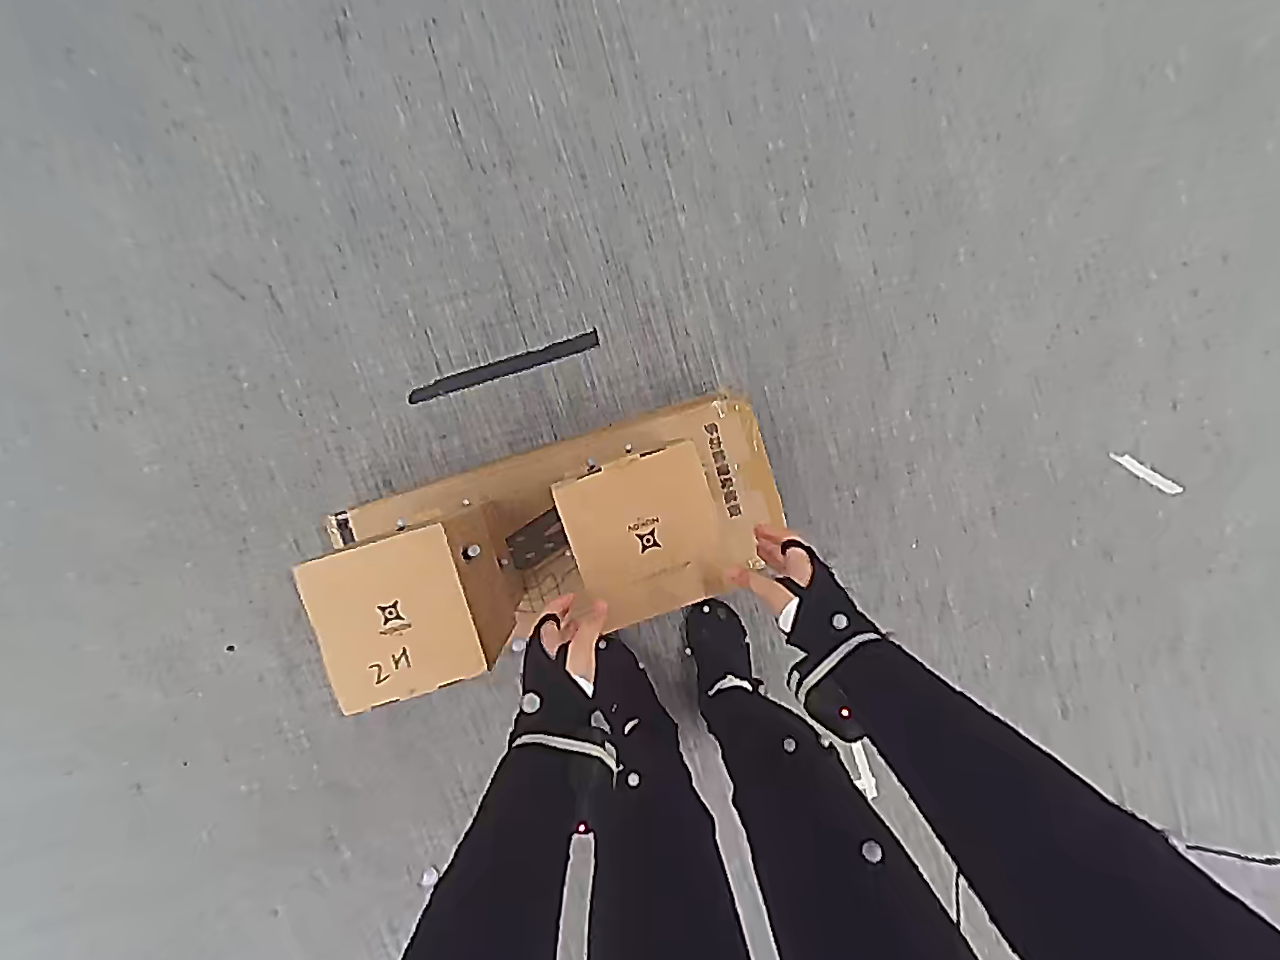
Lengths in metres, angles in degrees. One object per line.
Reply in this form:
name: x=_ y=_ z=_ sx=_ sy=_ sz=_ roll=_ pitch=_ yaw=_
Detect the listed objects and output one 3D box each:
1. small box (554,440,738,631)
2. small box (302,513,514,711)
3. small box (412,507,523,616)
small box: x=0.005 y=0.058 z=0.677 sx=0.168 sy=0.176 sz=0.179 roll=-20 pitch=95 yaw=1
small box: x=-0.269 y=0.146 z=0.669 sx=0.168 sy=0.176 sz=0.179 roll=-16 pitch=94 yaw=-1
small box: x=-0.293 y=0.147 z=0.834 sx=0.168 sy=0.176 sz=0.179 roll=-18 pitch=95 yaw=-1
